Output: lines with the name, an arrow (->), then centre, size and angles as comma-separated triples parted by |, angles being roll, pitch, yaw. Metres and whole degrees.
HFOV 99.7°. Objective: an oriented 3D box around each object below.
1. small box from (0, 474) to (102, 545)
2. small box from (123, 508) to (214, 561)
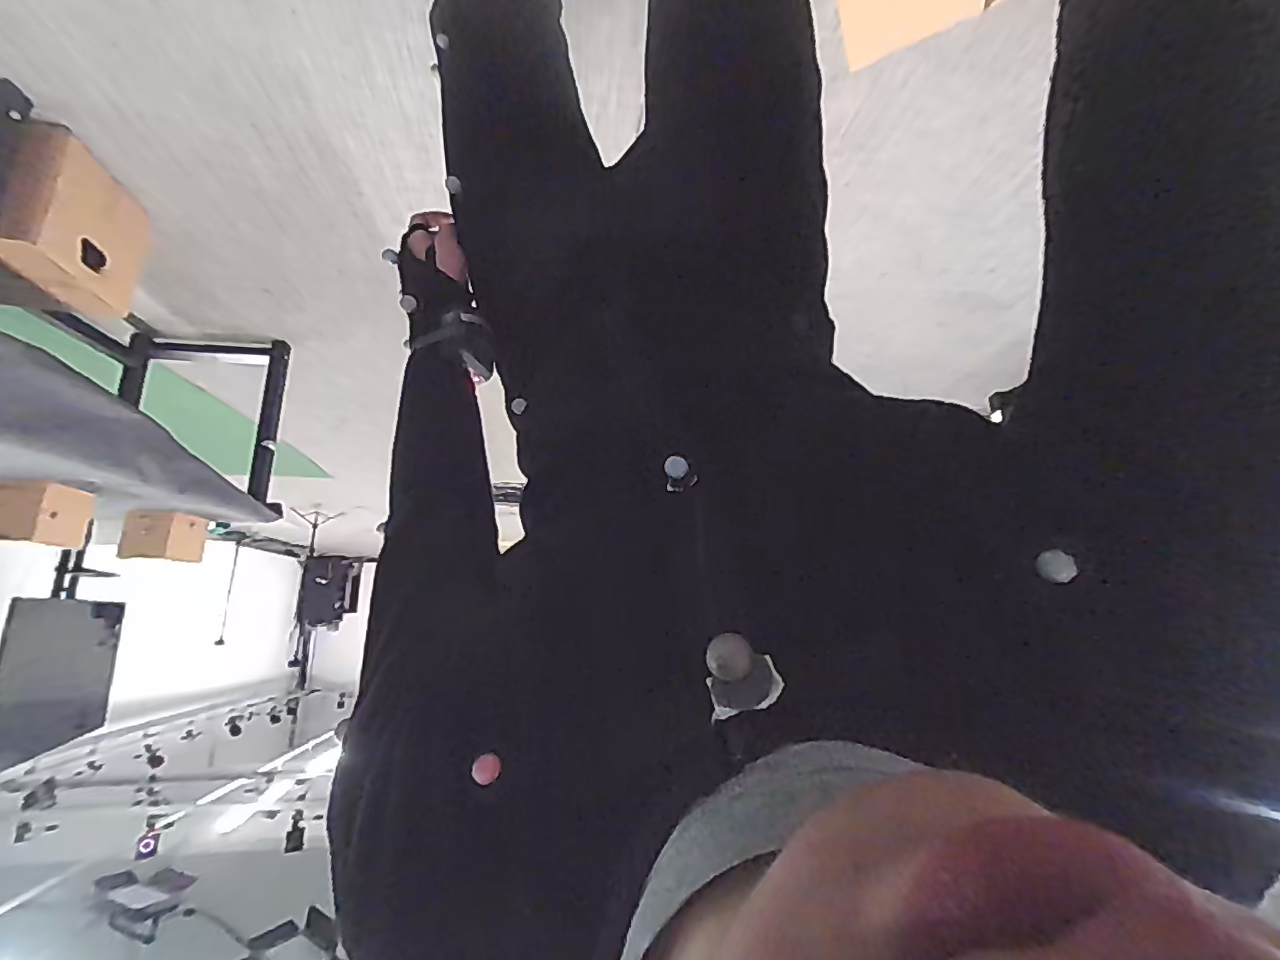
small box -> -1.663, 0.084, 1.497 | 0.168, 0.176, 0.179 | 4, 167, -10
small box -> -1.686, 0.197, 1.945 | 0.168, 0.176, 0.179 | 1, 165, -2
